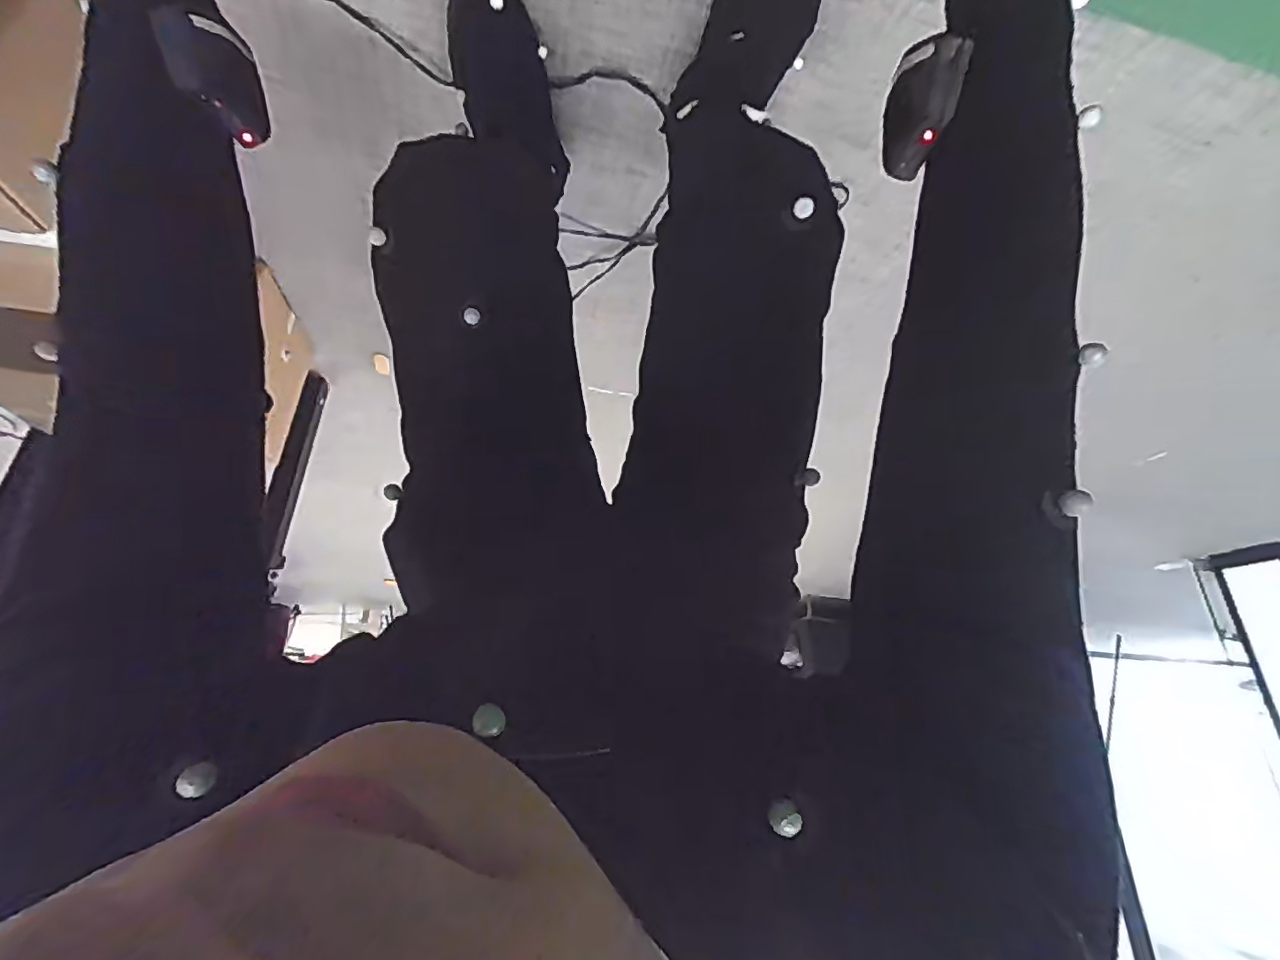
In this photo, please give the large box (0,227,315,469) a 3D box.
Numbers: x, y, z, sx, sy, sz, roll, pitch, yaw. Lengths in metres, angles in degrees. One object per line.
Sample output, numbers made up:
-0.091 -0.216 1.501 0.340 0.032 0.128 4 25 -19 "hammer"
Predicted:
-0.952 -0.243 1.081 0.408 0.320 0.320 8 156 -11 "large box"
